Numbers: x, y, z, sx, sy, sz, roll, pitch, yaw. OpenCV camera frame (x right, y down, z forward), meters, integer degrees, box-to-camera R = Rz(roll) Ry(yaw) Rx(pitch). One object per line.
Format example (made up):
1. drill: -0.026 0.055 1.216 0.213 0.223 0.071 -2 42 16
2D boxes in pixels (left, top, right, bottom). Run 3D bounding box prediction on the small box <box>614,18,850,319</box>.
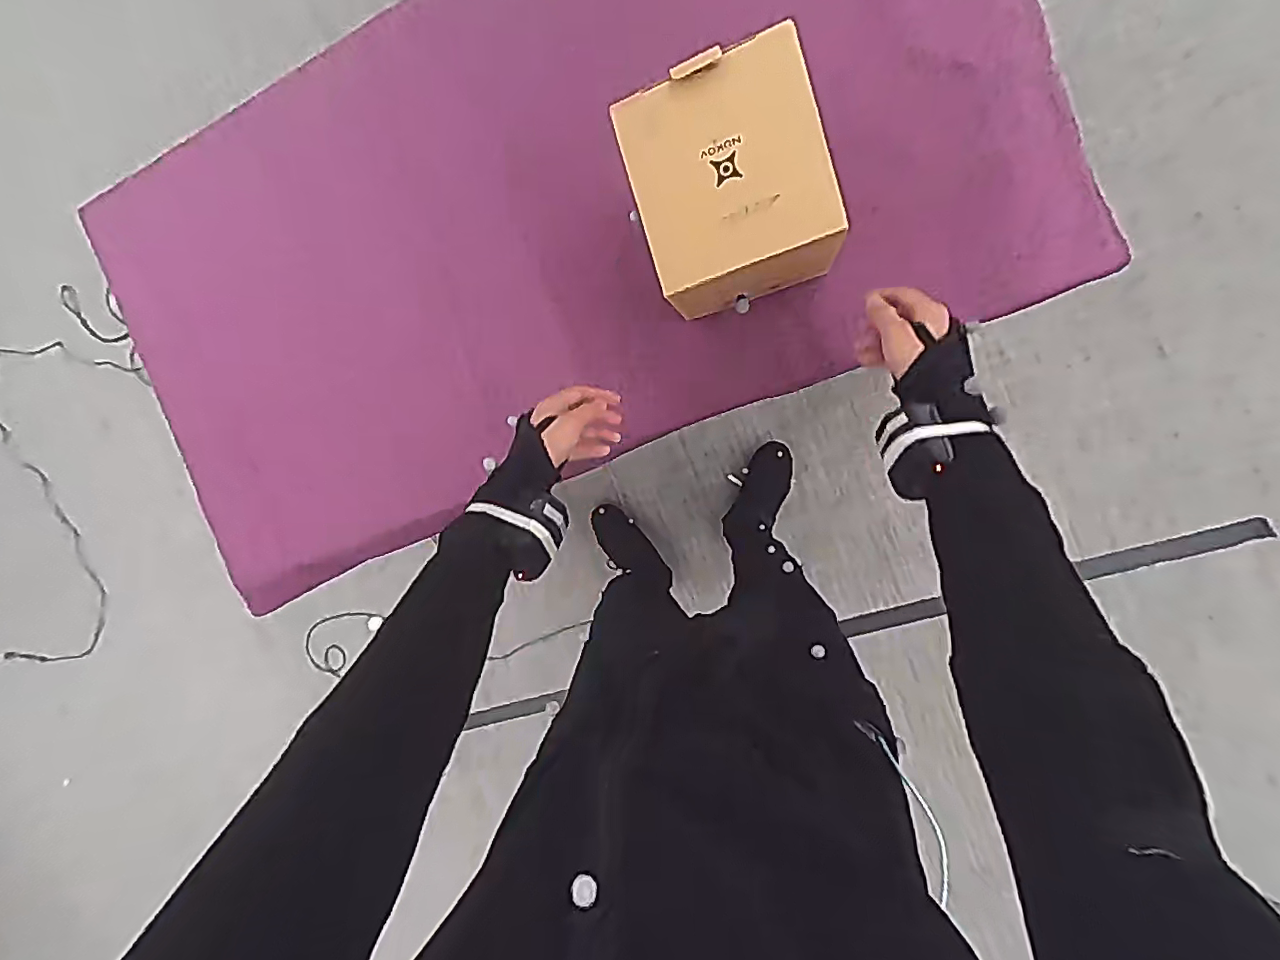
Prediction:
1. small box: 0.091 -0.278 0.533 0.168 0.176 0.179 -15 94 15
